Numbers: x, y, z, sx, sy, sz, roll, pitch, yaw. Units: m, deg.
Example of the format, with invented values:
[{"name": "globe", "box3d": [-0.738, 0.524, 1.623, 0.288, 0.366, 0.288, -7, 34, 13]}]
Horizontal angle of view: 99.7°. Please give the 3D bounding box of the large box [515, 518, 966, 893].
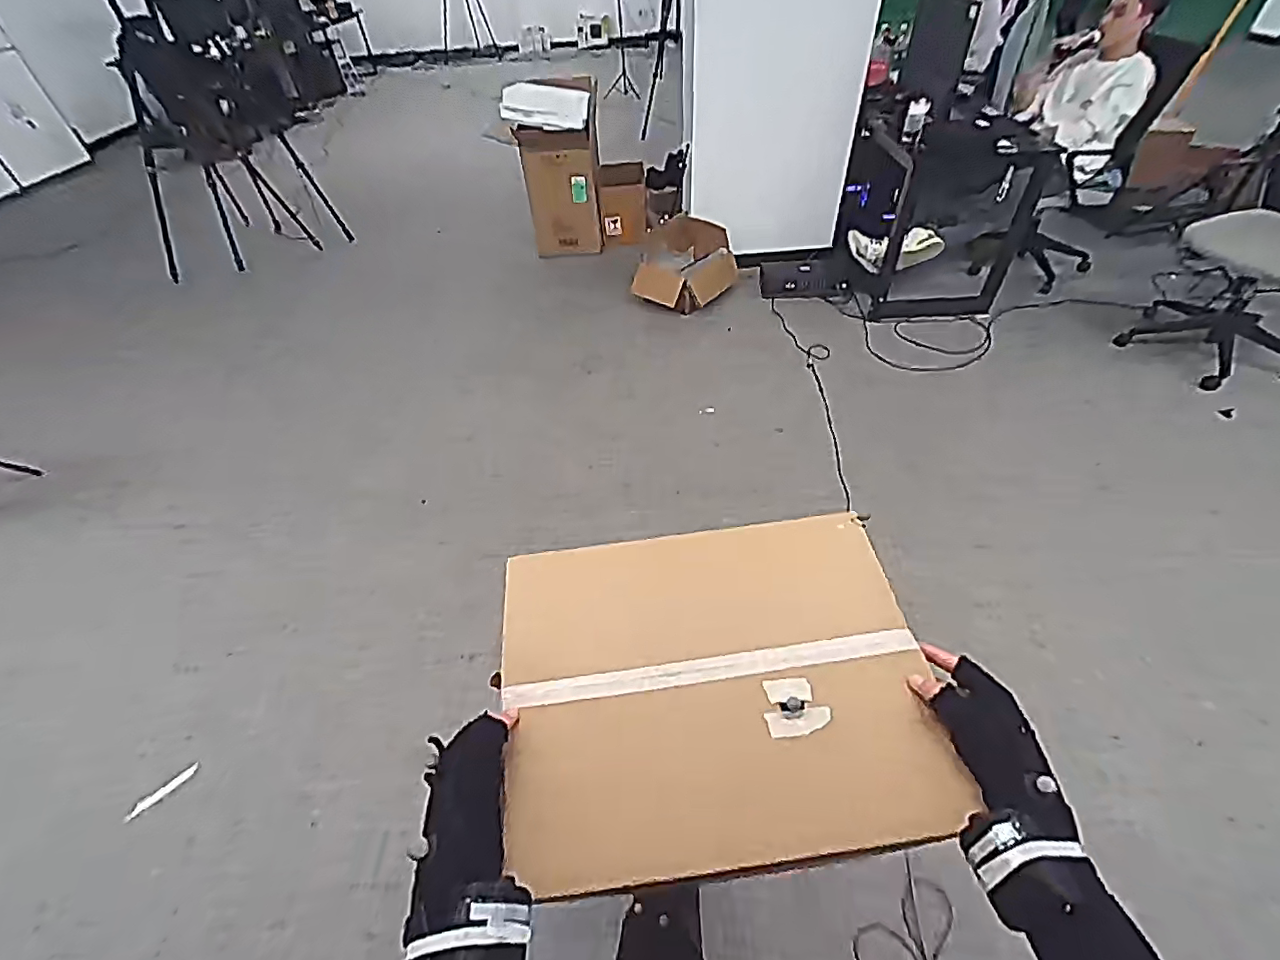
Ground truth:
[{"name": "large box", "box3d": [0.076, 0.283, 0.667, 0.408, 0.320, 0.320, -7, 52, -3]}]
